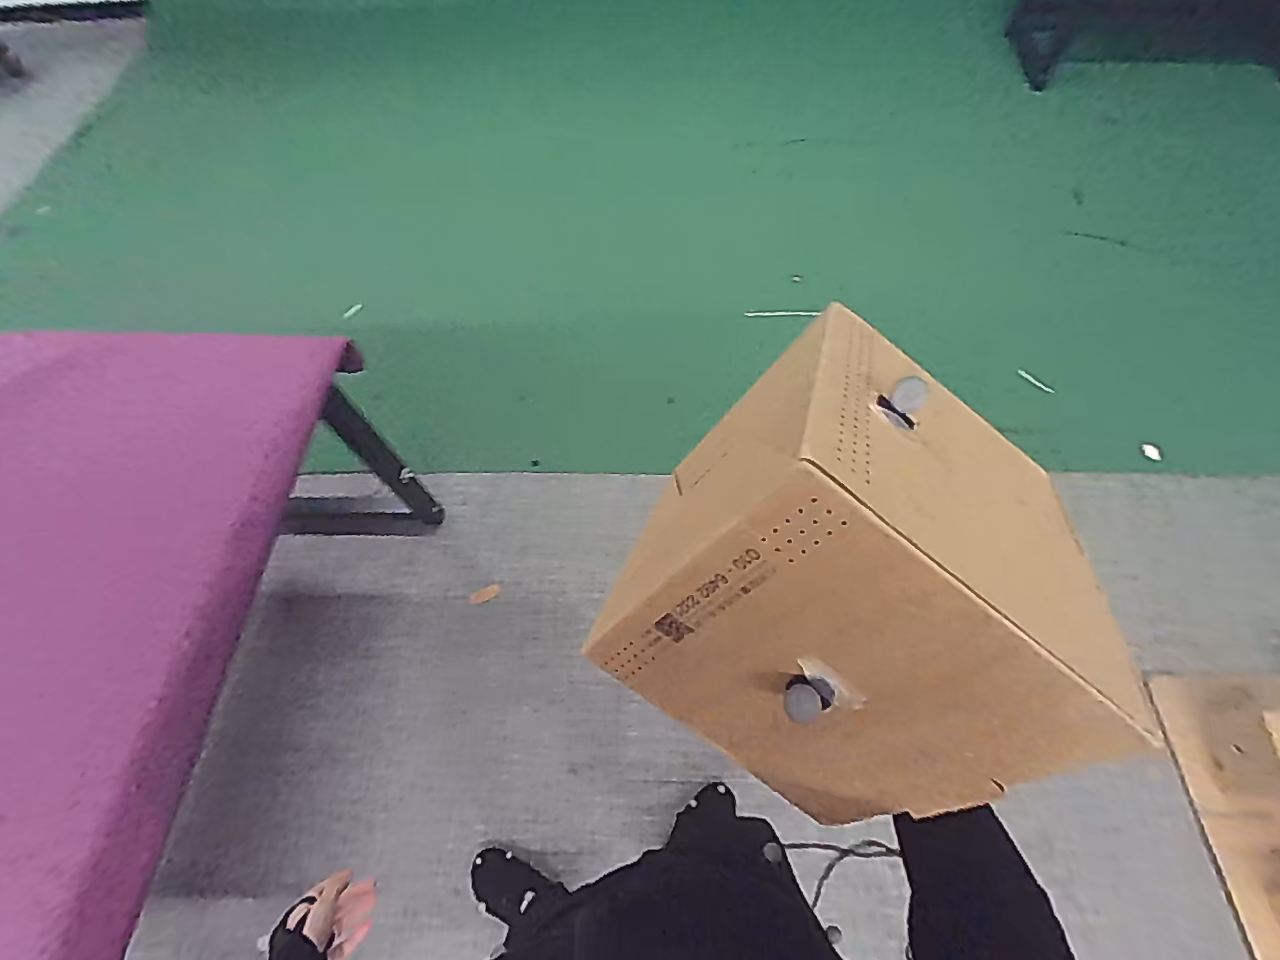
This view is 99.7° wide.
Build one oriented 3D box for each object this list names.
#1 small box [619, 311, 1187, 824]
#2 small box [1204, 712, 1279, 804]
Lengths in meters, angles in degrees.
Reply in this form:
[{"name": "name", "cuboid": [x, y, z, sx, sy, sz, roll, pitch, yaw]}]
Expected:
[{"name": "small box", "cuboid": [0.115, 0.039, 0.296, 0.176, 0.168, 0.179, 39, 39, -3]}, {"name": "small box", "cuboid": [1.387, 0.604, 1.163, 0.179, 0.176, 0.168, 5, 63, 4]}]
